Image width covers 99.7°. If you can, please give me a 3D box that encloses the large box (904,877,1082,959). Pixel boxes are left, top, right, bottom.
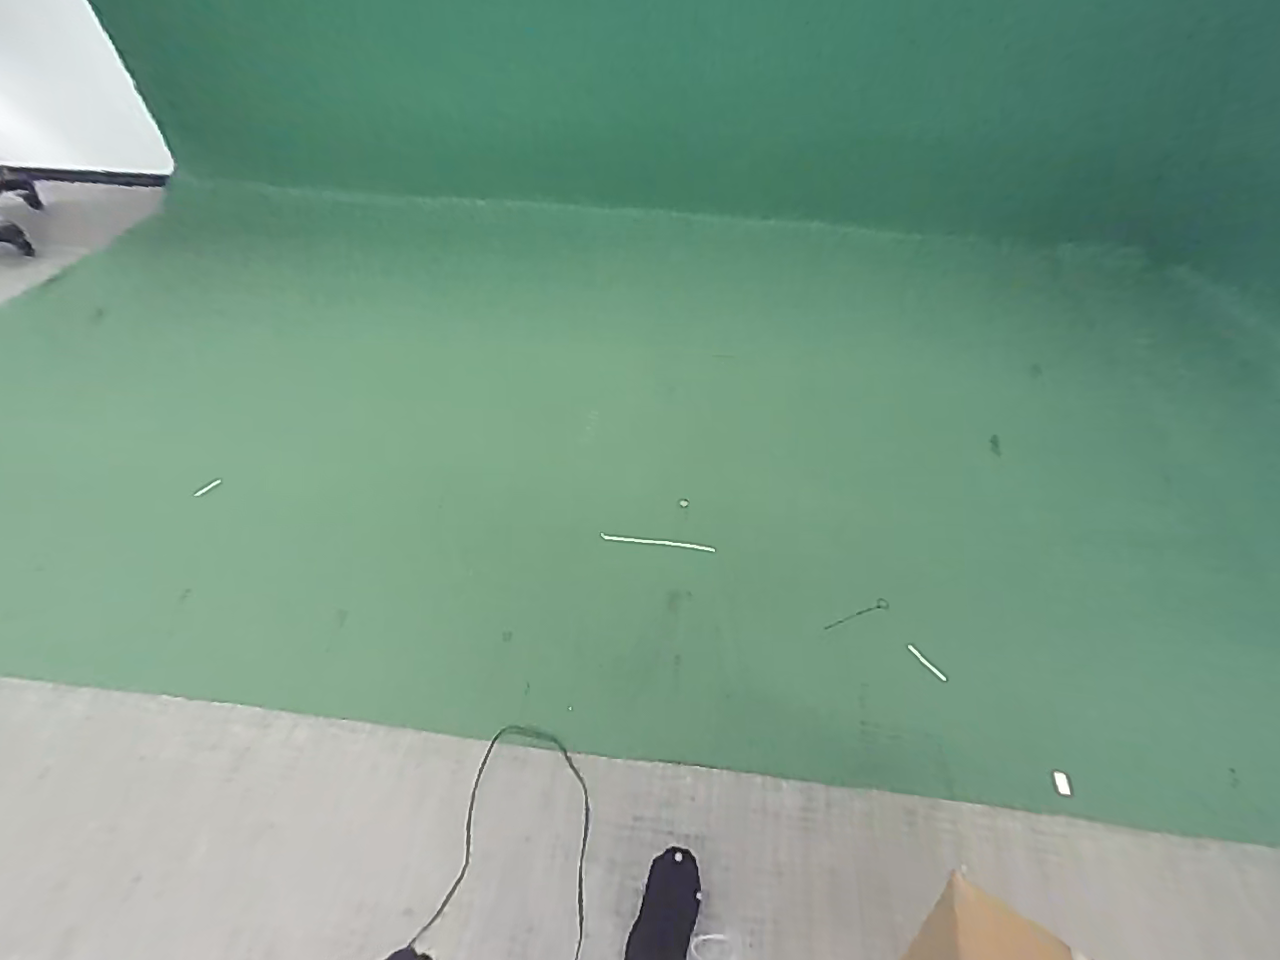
[{"bbox_3d":[0.430,0.764,0.566,0.320,0.320,0.408,28,9,25],"label":"large box"}]
